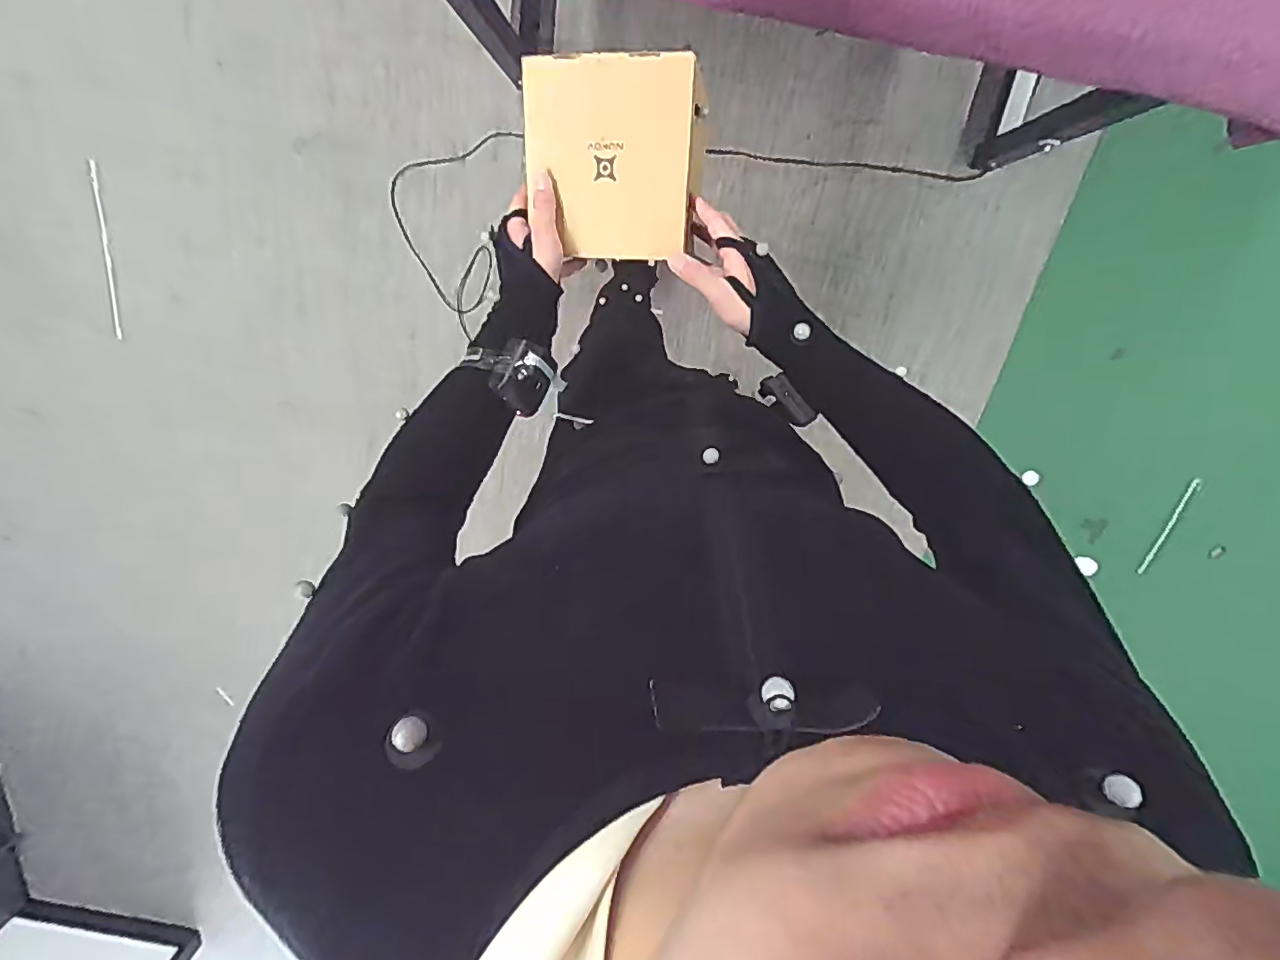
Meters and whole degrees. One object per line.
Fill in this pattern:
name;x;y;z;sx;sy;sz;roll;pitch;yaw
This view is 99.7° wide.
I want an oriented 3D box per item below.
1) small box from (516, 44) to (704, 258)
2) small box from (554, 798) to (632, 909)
small box;-0.022;-0.341;0.593;0.168;0.176;0.179;6;112;10
small box;-0.124;1.024;1.494;0.168;0.176;0.179;17;109;0
